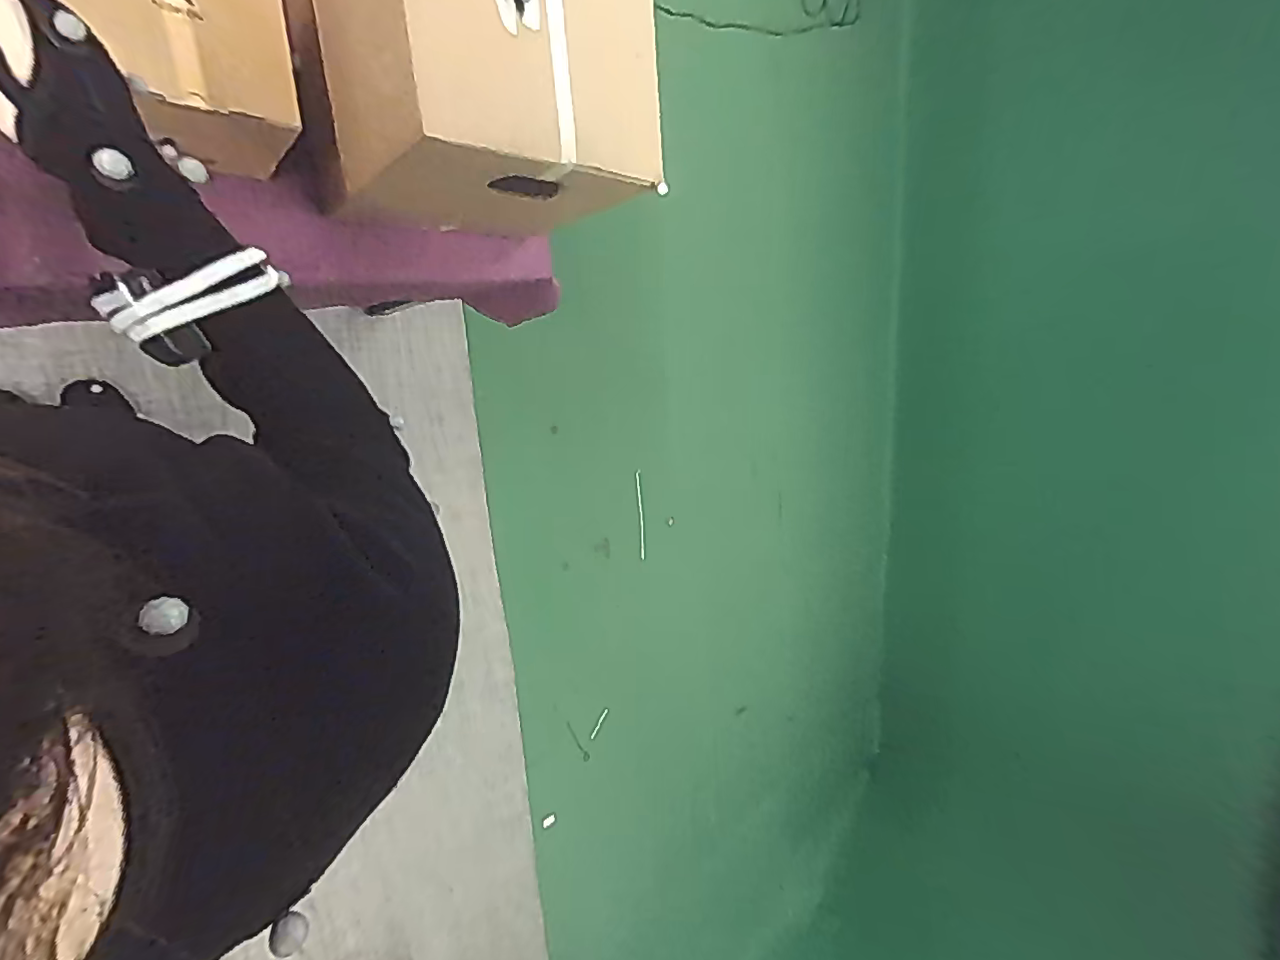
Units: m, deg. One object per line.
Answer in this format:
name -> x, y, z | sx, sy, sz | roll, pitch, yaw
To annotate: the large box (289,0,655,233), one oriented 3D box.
large box -> -0.207, -0.554, 0.653 | 0.320, 0.320, 0.408 | -17, 109, -42
